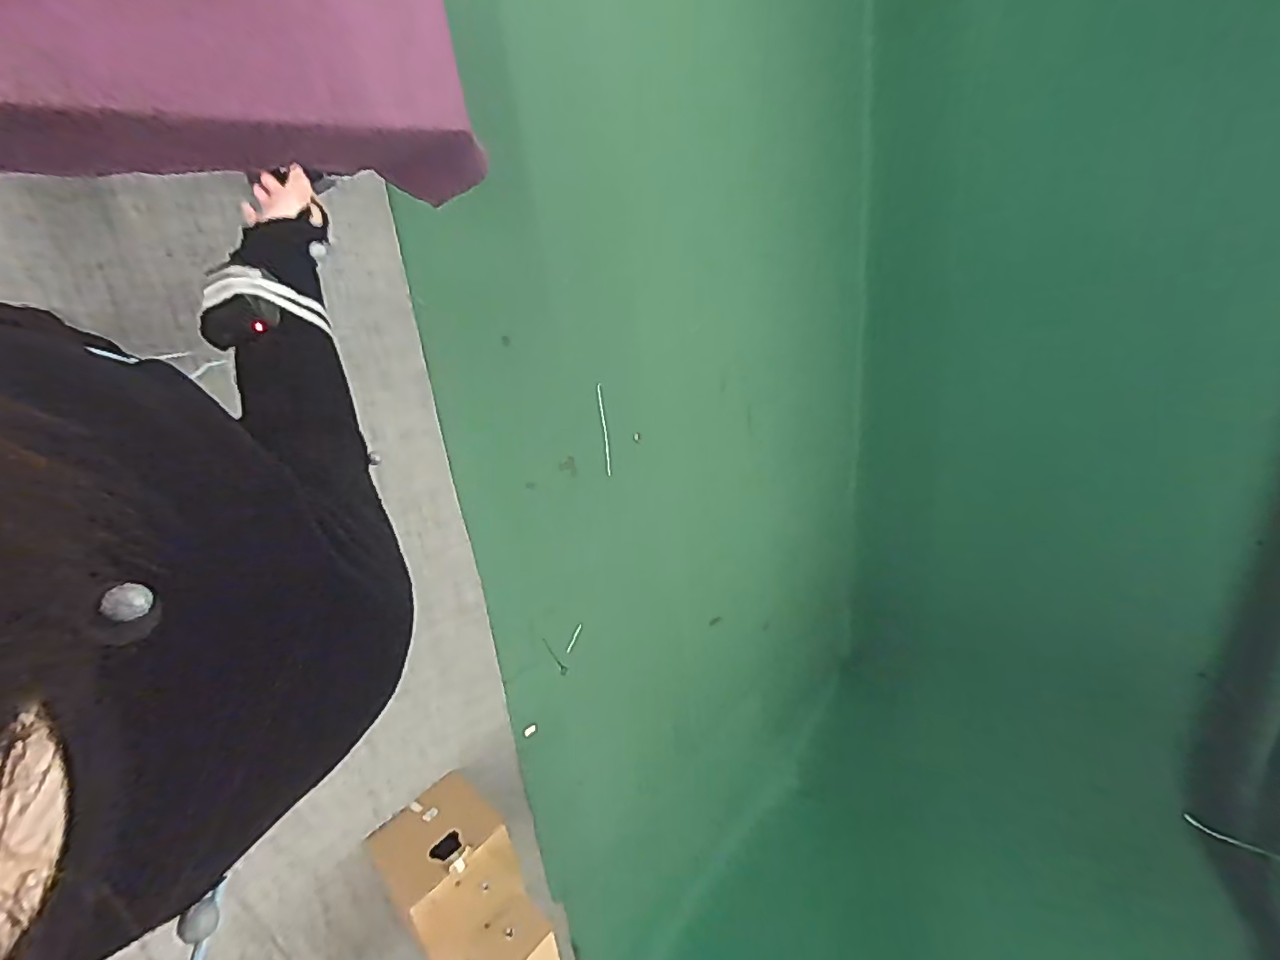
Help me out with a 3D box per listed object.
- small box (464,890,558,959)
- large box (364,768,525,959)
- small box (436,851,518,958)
[{"bbox_3d":[-0.340,1.233,1.420,0.168,0.176,0.179,-25,118,-42],"label":"small box"},{"bbox_3d":[-0.618,1.239,1.733,0.320,0.320,0.408,-27,120,-41],"label":"large box"},{"bbox_3d":[-0.456,1.204,1.534,0.168,0.176,0.179,-25,119,-42],"label":"small box"}]
